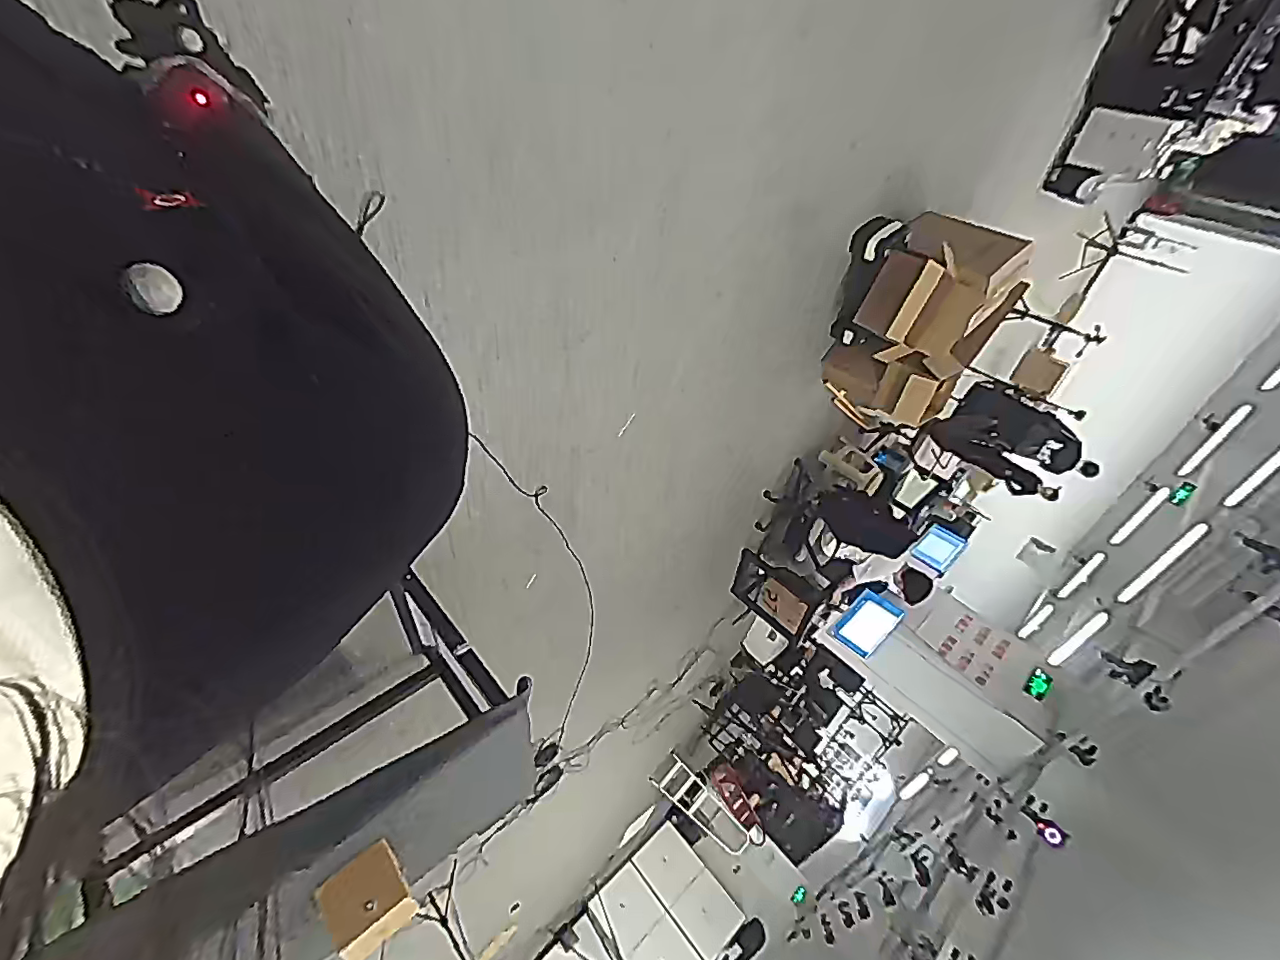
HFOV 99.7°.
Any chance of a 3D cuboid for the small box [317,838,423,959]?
[{"bbox_3d":[-0.695,1.079,1.399,0.179,0.176,0.168,-28,141,-33],"label":"small box"}]
